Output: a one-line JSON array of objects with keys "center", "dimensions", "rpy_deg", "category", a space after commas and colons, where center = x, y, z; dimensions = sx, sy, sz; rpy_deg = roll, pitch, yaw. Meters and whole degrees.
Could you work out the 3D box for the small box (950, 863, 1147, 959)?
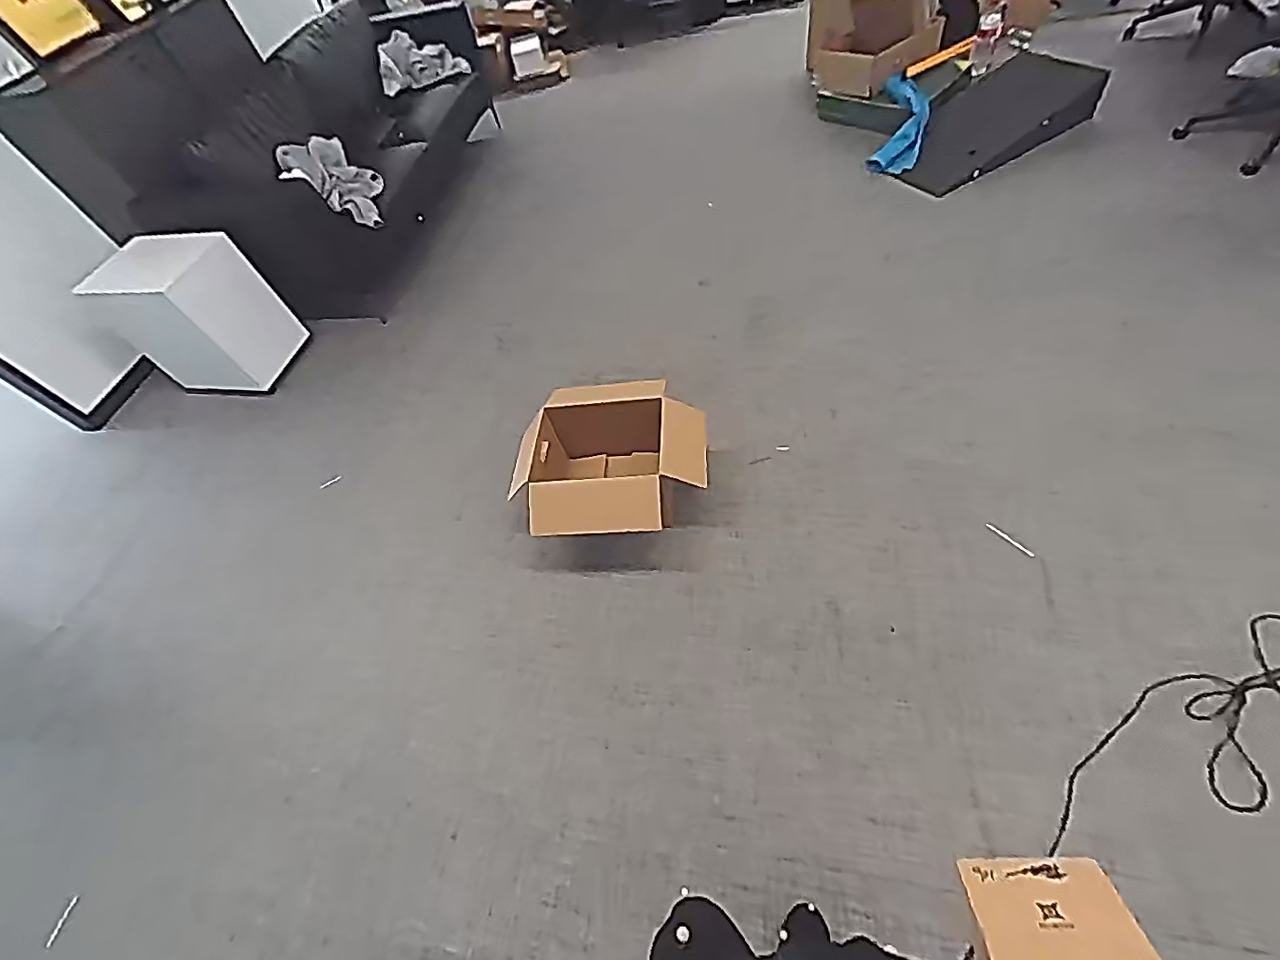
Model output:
[{"center": [0.494, 0.598, 0.638], "dimensions": [0.168, 0.179, 0.176], "rpy_deg": [-13, 95, 18], "category": "small box"}]
